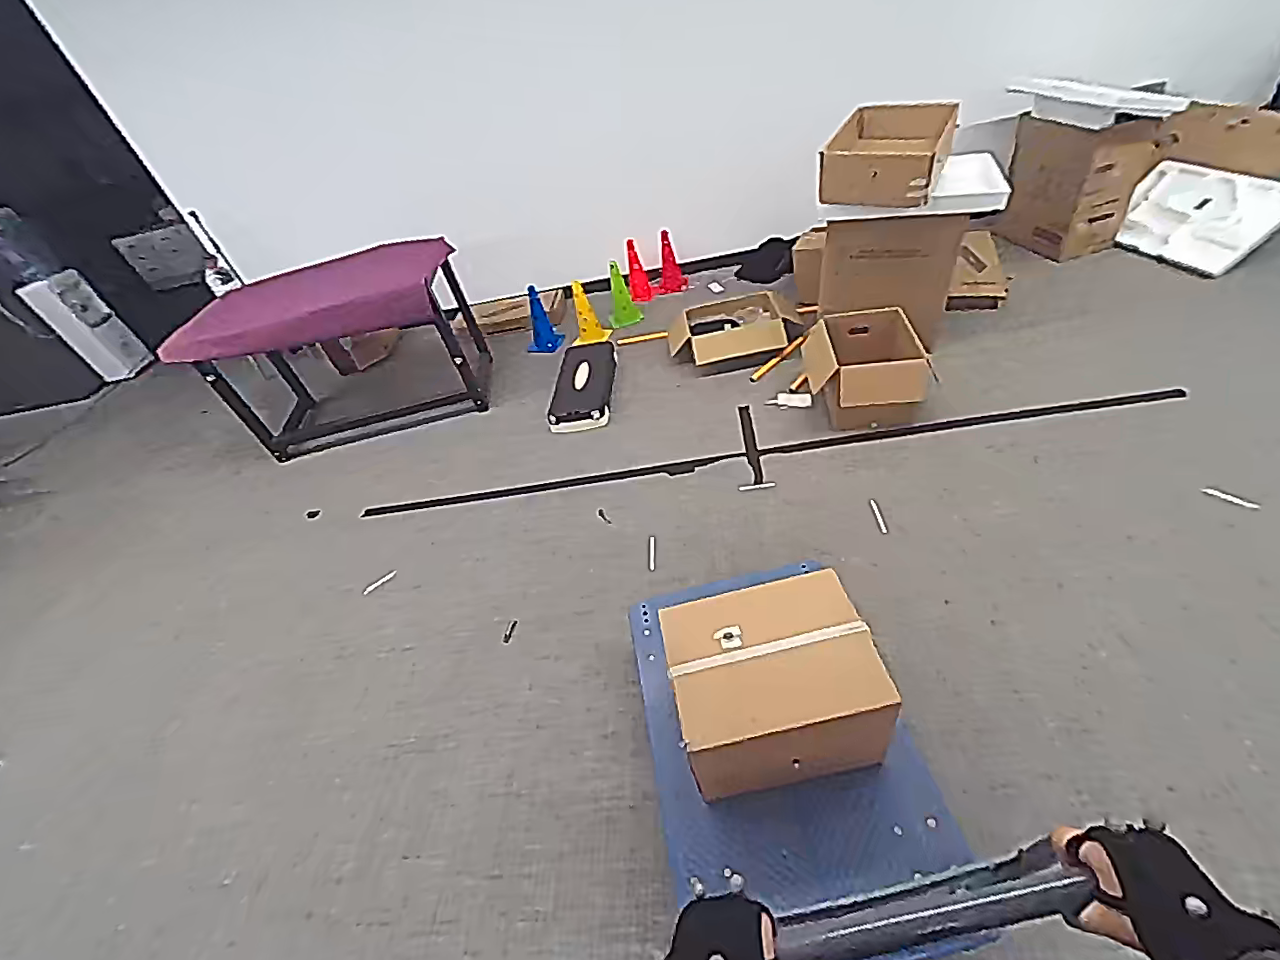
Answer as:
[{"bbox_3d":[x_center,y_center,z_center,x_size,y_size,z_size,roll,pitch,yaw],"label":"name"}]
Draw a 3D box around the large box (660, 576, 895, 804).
[{"bbox_3d":[0.290,0.471,1.208,0.408,0.320,0.320,-15,42,2],"label":"large box"}]
